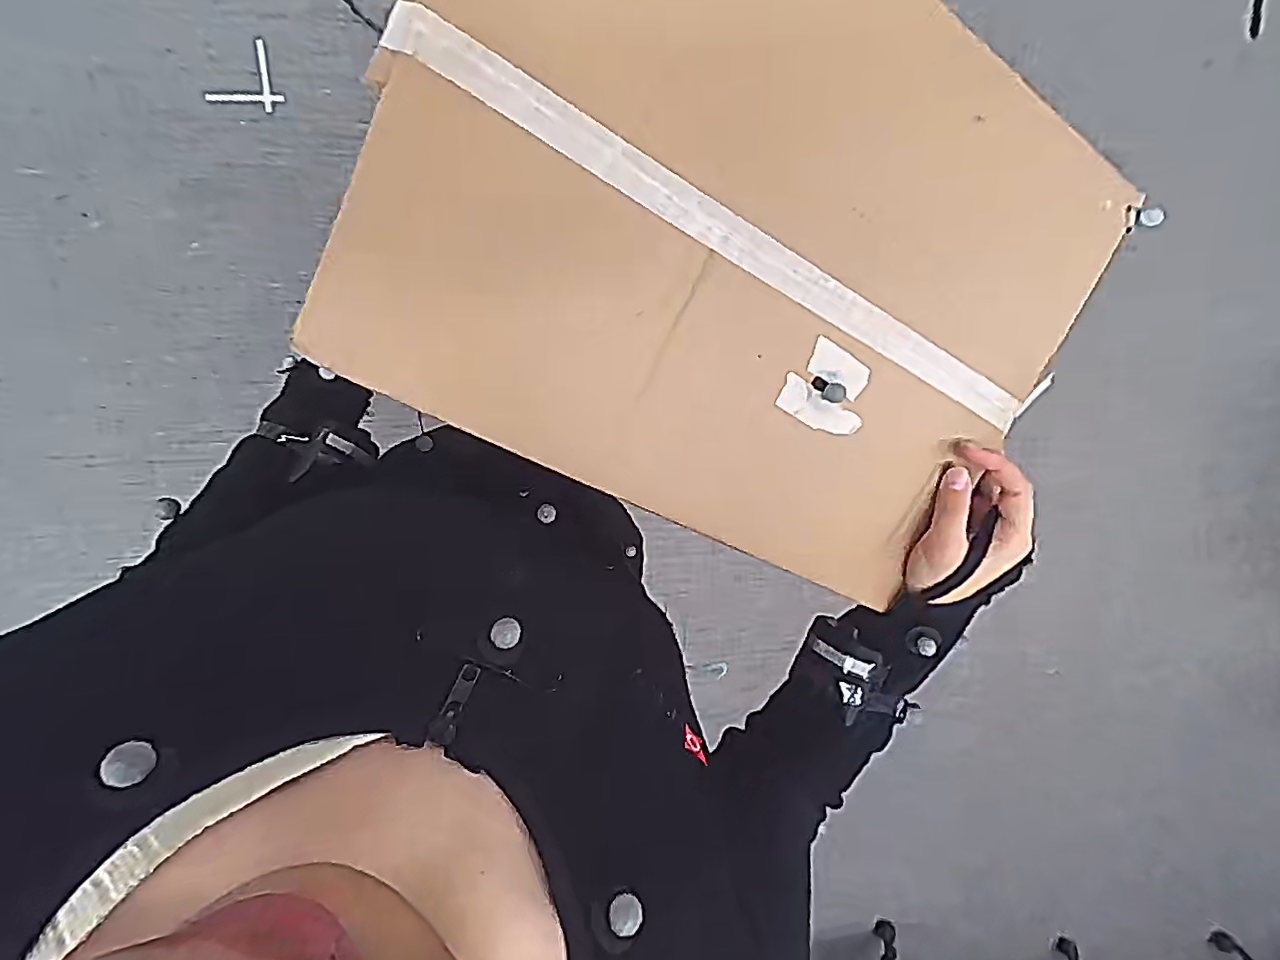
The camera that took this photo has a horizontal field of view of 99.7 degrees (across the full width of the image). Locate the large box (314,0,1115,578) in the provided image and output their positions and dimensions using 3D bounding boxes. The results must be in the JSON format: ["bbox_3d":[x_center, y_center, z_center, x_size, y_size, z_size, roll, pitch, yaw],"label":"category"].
[{"bbox_3d":[0.036,-0.173,0.447,0.408,0.320,0.320,23,100,-19],"label":"large box"}]
